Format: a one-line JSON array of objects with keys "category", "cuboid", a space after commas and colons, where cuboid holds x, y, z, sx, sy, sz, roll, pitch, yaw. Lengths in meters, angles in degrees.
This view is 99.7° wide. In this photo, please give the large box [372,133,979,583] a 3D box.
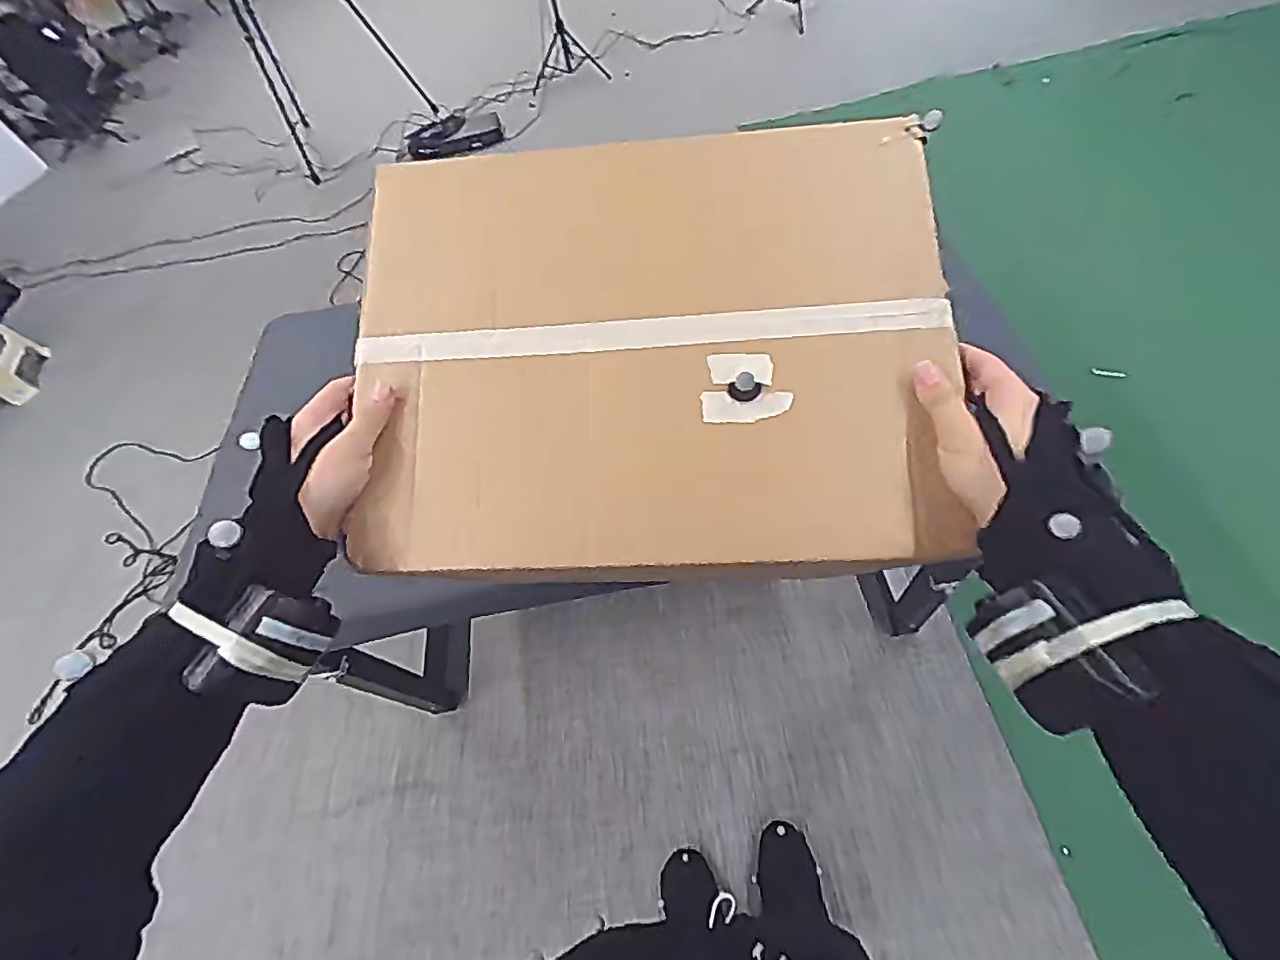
[{"category": "large box", "cuboid": [0.021, -0.069, 0.528, 0.408, 0.320, 0.320, -2, 78, 4]}]
